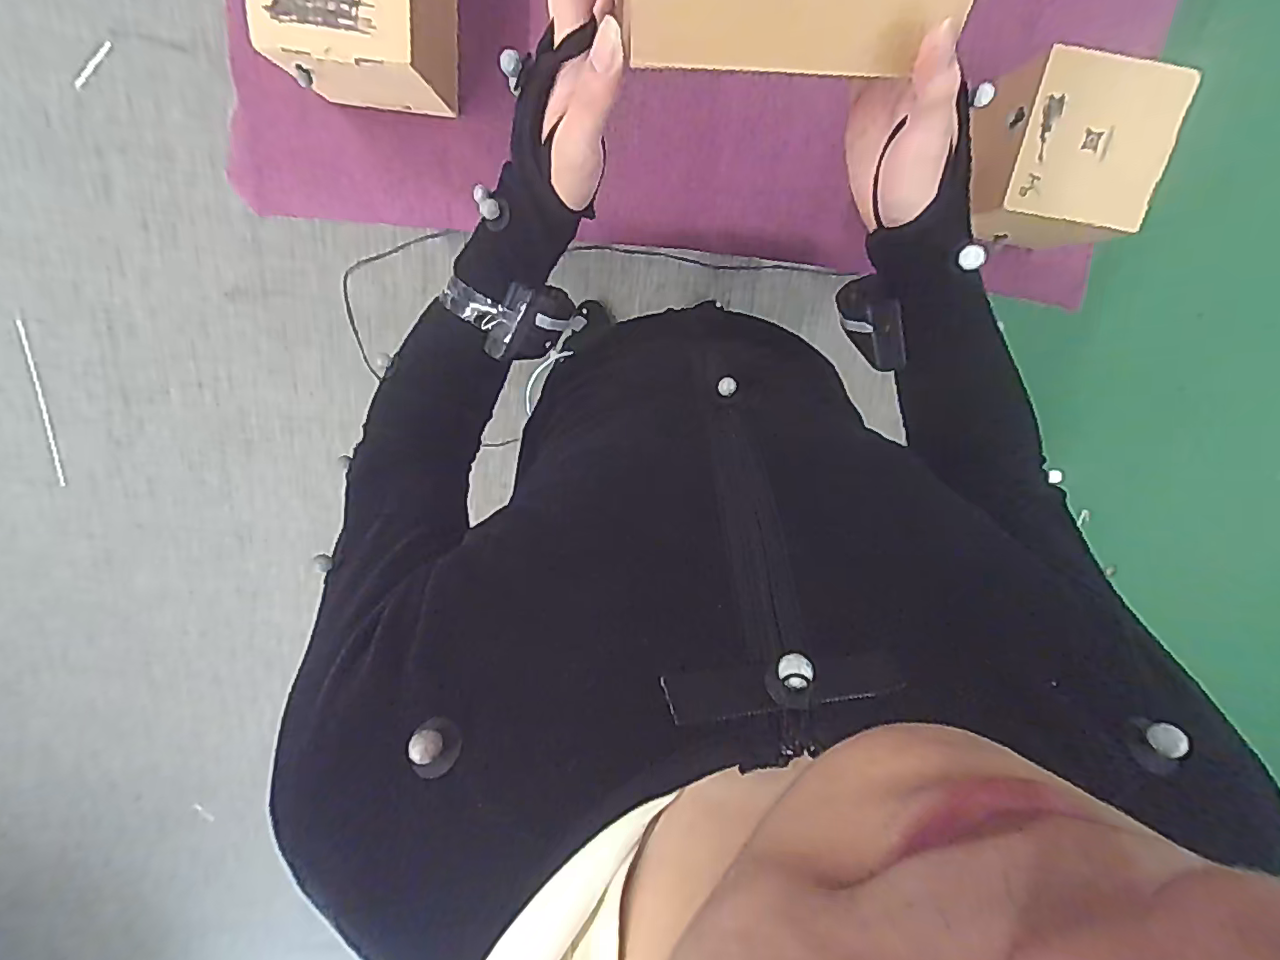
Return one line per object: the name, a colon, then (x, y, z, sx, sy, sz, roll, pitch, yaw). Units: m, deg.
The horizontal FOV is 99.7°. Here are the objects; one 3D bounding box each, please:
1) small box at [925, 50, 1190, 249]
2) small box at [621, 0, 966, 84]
small box: (0.511, -0.402, 0.692, 0.179, 0.176, 0.168, 8, 106, -4)
small box: (0.073, -0.327, 0.268, 0.168, 0.176, 0.179, -1, 139, -5)
